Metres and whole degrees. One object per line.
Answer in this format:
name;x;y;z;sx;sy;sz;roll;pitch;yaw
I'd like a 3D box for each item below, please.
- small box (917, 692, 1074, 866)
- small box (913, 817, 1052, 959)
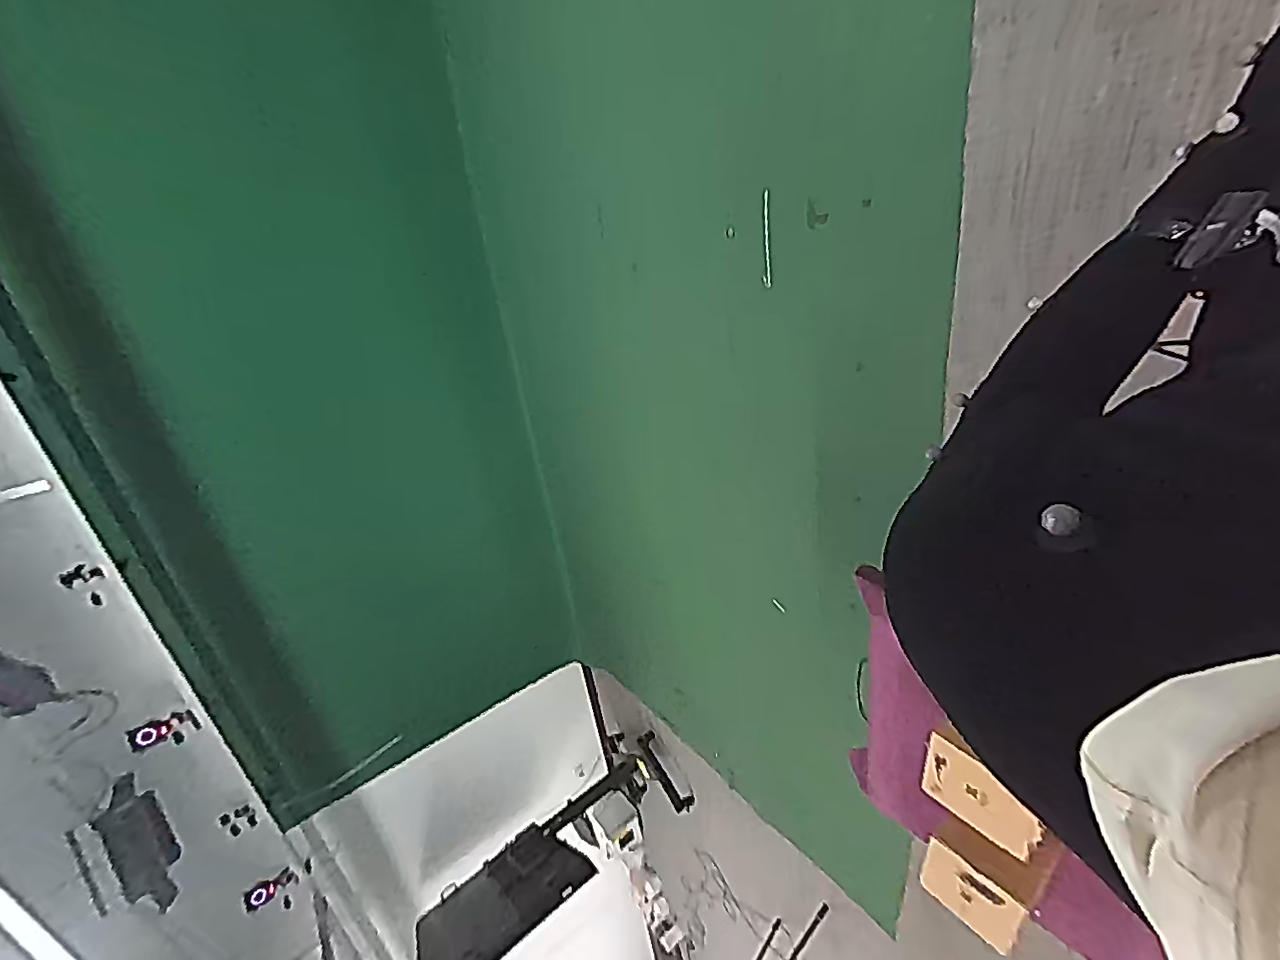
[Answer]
small box;0.628;0.515;0.959;0.179;0.176;0.168;25;131;46
small box;0.670;0.764;1.058;0.168;0.176;0.179;27;131;46
